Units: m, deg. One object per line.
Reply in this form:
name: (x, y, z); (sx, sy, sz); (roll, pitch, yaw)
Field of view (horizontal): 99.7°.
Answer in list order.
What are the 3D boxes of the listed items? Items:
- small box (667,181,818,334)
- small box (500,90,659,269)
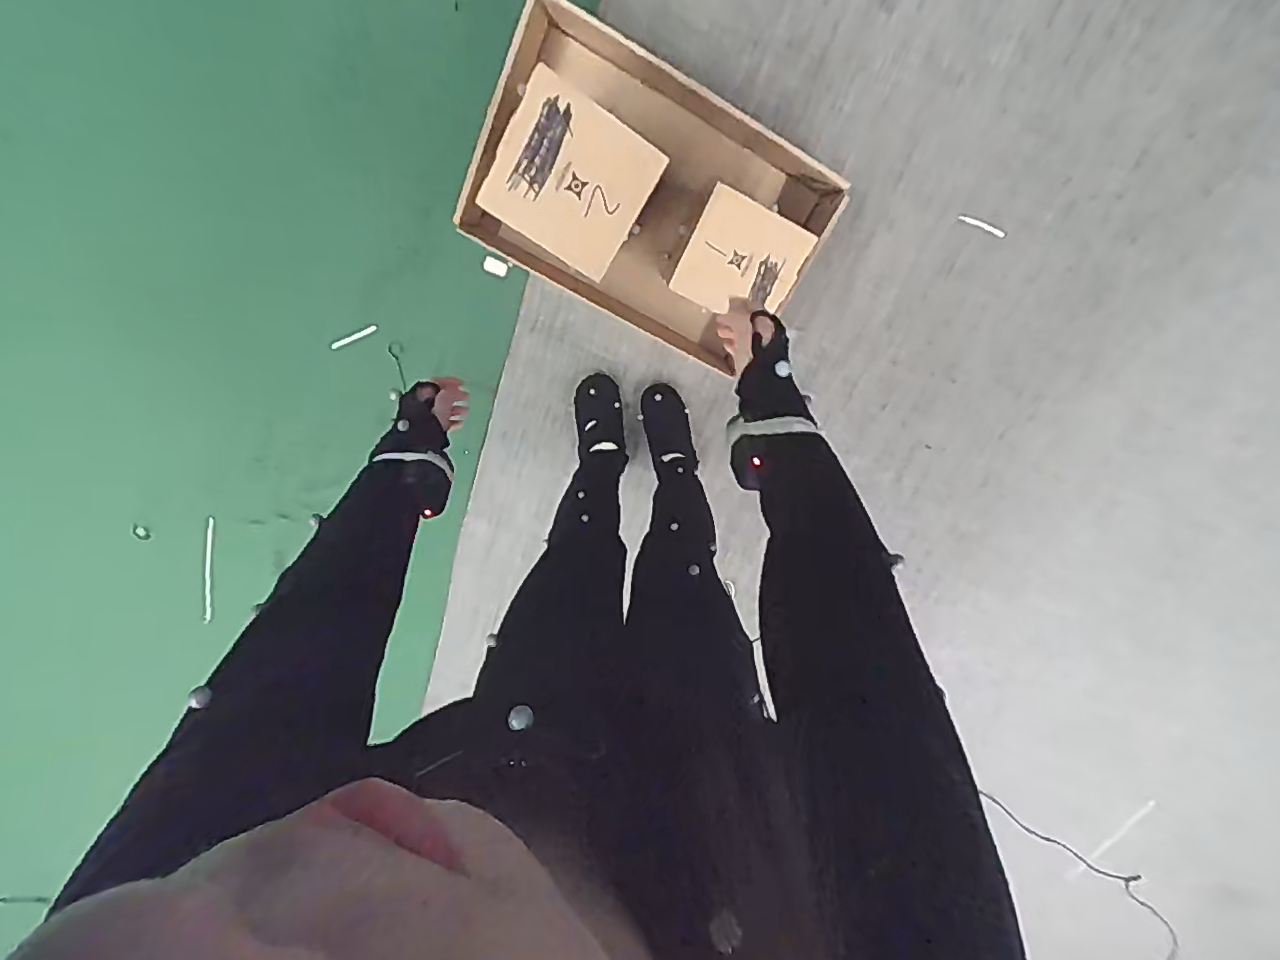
small box: (0.157, -0.368, 0.893); (0.179, 0.176, 0.168); (24, 114, -9)
small box: (-0.092, -0.461, 0.855); (0.179, 0.176, 0.168); (34, 111, -18)
